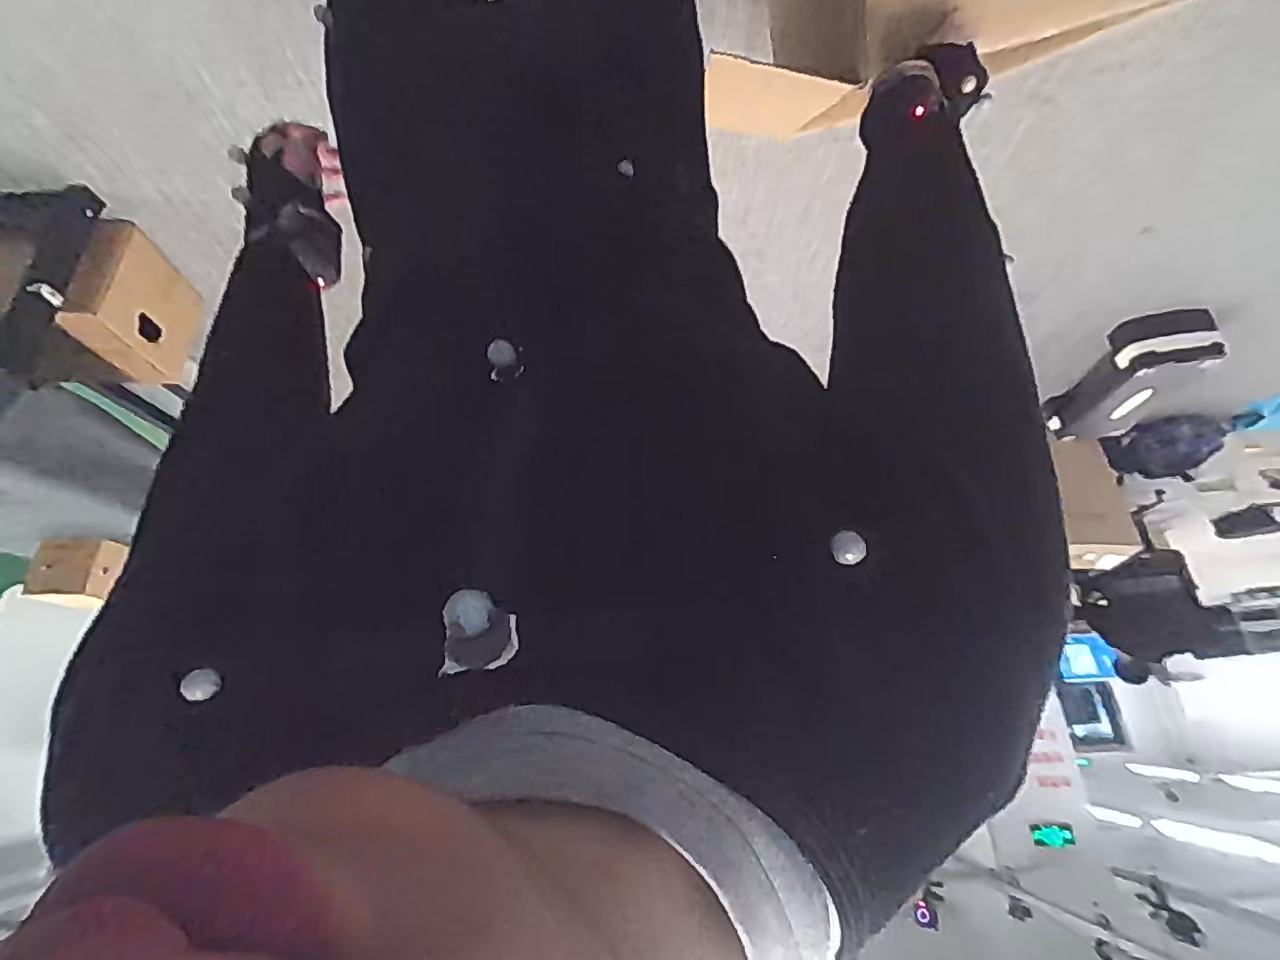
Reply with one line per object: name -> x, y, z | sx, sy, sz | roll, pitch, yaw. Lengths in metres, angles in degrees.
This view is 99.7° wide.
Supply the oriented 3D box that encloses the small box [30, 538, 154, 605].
small box -> -1.608, 0.271, 1.599 | 0.168, 0.176, 0.179 | 1, 158, -3
